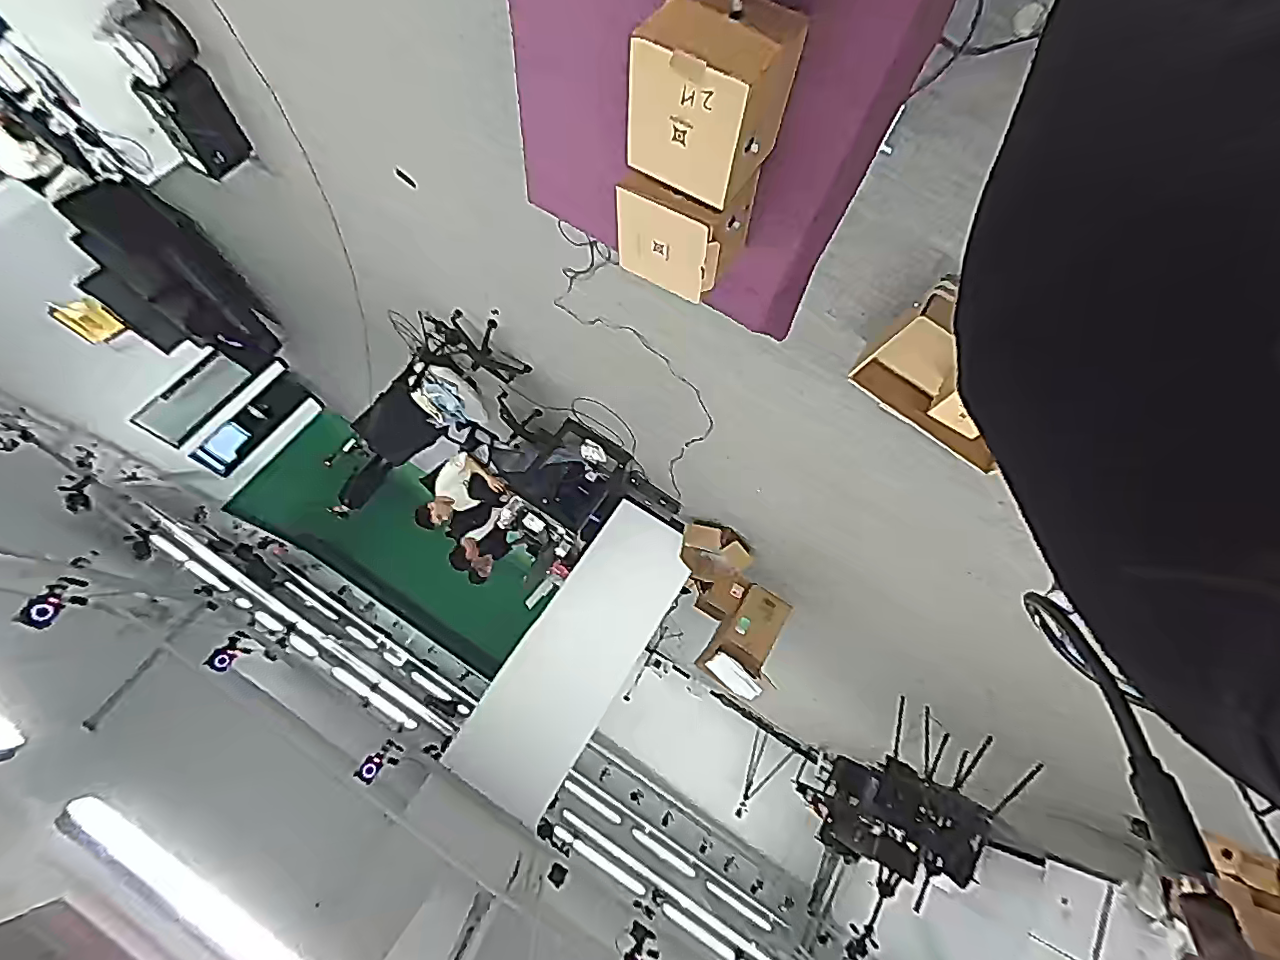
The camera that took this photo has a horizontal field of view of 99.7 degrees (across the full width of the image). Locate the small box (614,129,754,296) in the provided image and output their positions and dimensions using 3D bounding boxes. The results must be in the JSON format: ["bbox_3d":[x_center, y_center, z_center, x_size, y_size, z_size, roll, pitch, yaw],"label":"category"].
[{"bbox_3d":[0.074,-0.461,0.930,0.179,0.176,0.168,30,159,13],"label":"small box"}]
